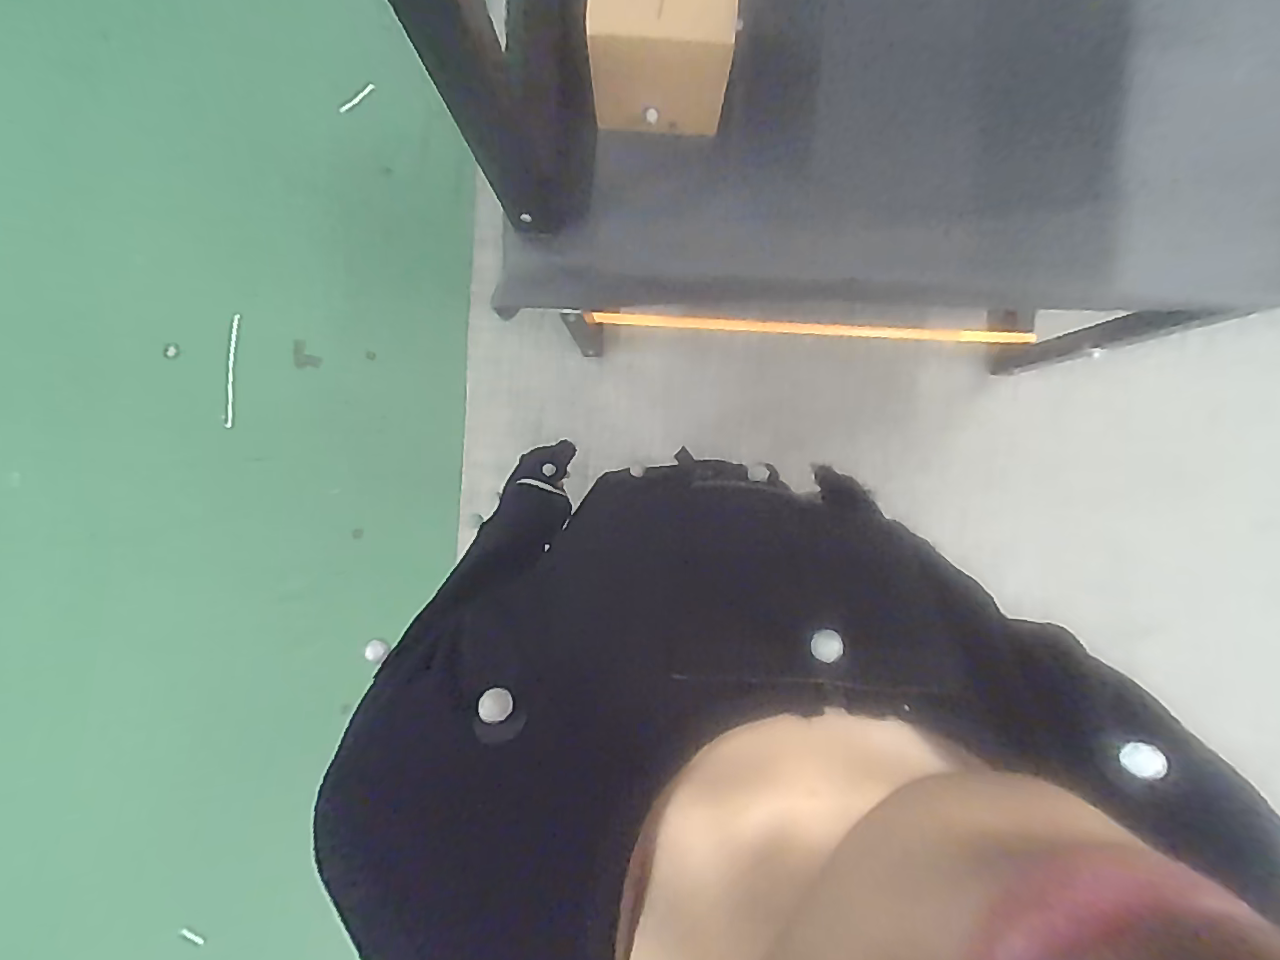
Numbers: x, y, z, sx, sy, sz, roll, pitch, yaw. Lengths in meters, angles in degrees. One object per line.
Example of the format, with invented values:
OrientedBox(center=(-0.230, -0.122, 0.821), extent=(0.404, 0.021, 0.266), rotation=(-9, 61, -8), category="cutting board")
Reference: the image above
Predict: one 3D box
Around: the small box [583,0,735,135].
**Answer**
OrientedBox(center=(0.025, -0.568, 0.667), extent=(0.168, 0.176, 0.179), rotation=(4, 92, 0), category="small box")
